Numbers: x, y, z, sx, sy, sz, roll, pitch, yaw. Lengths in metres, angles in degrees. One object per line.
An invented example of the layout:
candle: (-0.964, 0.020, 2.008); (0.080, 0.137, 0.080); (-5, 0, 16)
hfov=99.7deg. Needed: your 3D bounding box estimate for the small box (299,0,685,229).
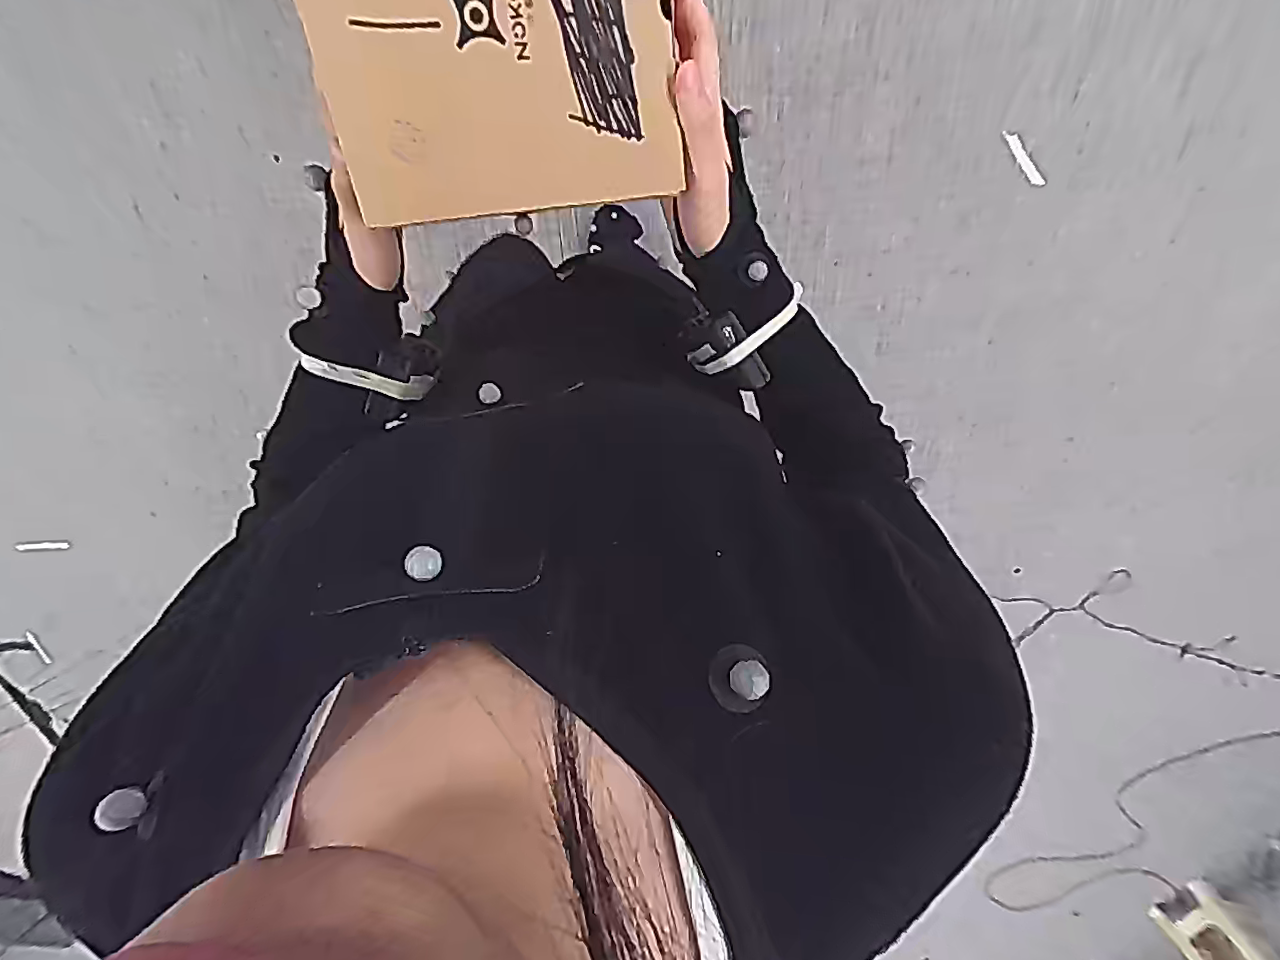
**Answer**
small box: (-0.079, -0.255, 0.326); (0.179, 0.176, 0.168); (-9, 119, -4)
